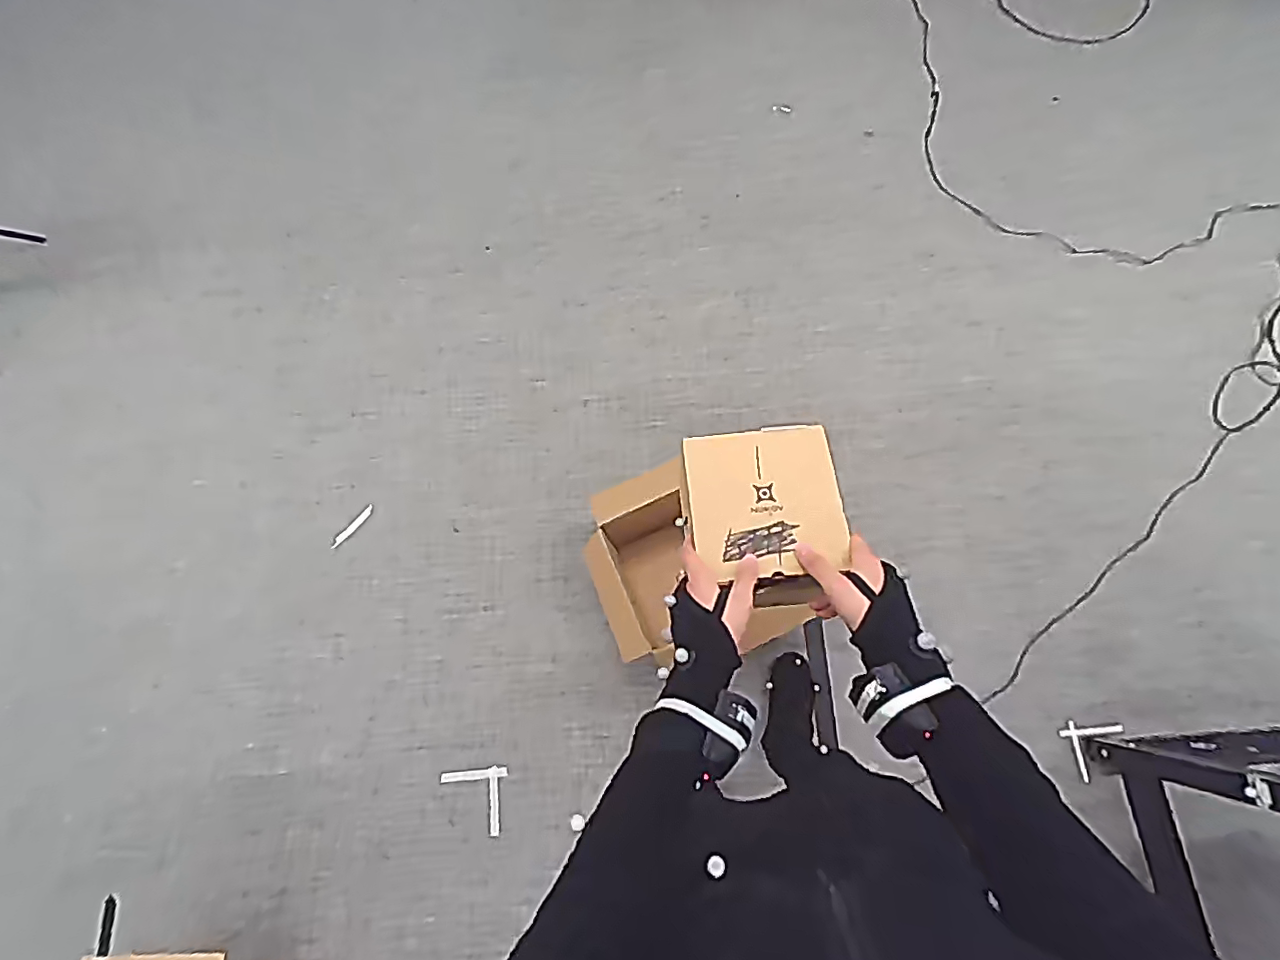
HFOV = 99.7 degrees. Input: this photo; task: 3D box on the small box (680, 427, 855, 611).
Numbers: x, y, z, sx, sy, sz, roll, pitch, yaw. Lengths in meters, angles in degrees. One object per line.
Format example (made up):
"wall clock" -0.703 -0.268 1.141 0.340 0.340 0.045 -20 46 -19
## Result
"small box" 0.140 0.058 0.661 0.168 0.176 0.179 -6 65 1
